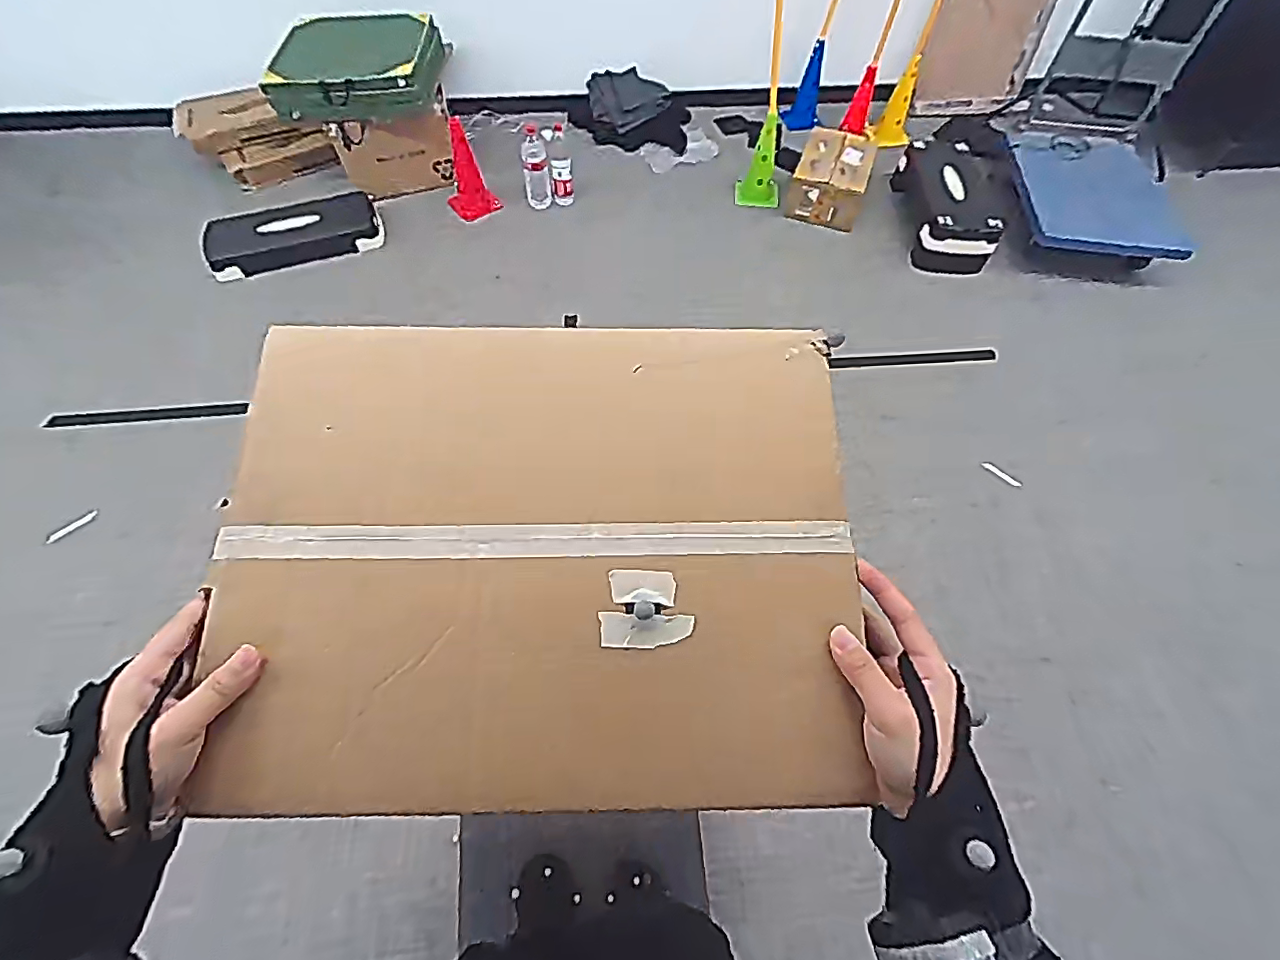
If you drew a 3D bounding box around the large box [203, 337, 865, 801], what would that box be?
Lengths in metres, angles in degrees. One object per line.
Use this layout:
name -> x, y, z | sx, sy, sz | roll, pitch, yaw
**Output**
large box -> -0.068, 0.082, 0.507 | 0.408, 0.320, 0.320 | 0, 74, -2
